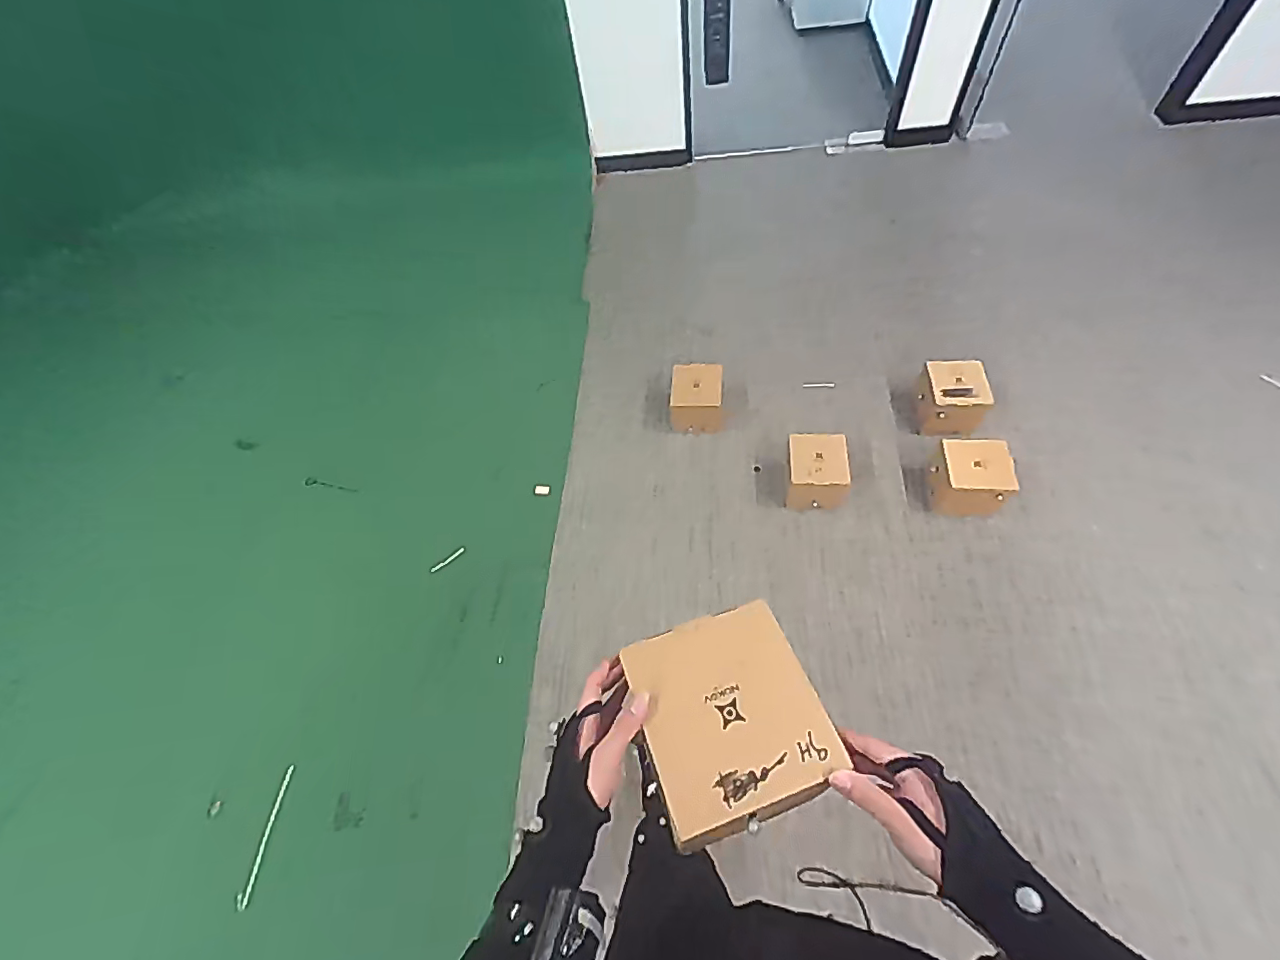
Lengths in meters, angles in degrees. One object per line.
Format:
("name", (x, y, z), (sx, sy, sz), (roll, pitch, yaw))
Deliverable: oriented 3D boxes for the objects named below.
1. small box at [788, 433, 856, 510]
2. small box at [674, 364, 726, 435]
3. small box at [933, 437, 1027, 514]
("small box", (0.546, -0.026, 1.643), (0.168, 0.176, 0.179), (1, 60, 9))
("small box", (0.207, -0.275, 1.841), (0.168, 0.176, 0.179), (1, 61, 10))
("small box", (0.975, -0.011, 1.574), (0.179, 0.176, 0.168), (2, 60, 8))
